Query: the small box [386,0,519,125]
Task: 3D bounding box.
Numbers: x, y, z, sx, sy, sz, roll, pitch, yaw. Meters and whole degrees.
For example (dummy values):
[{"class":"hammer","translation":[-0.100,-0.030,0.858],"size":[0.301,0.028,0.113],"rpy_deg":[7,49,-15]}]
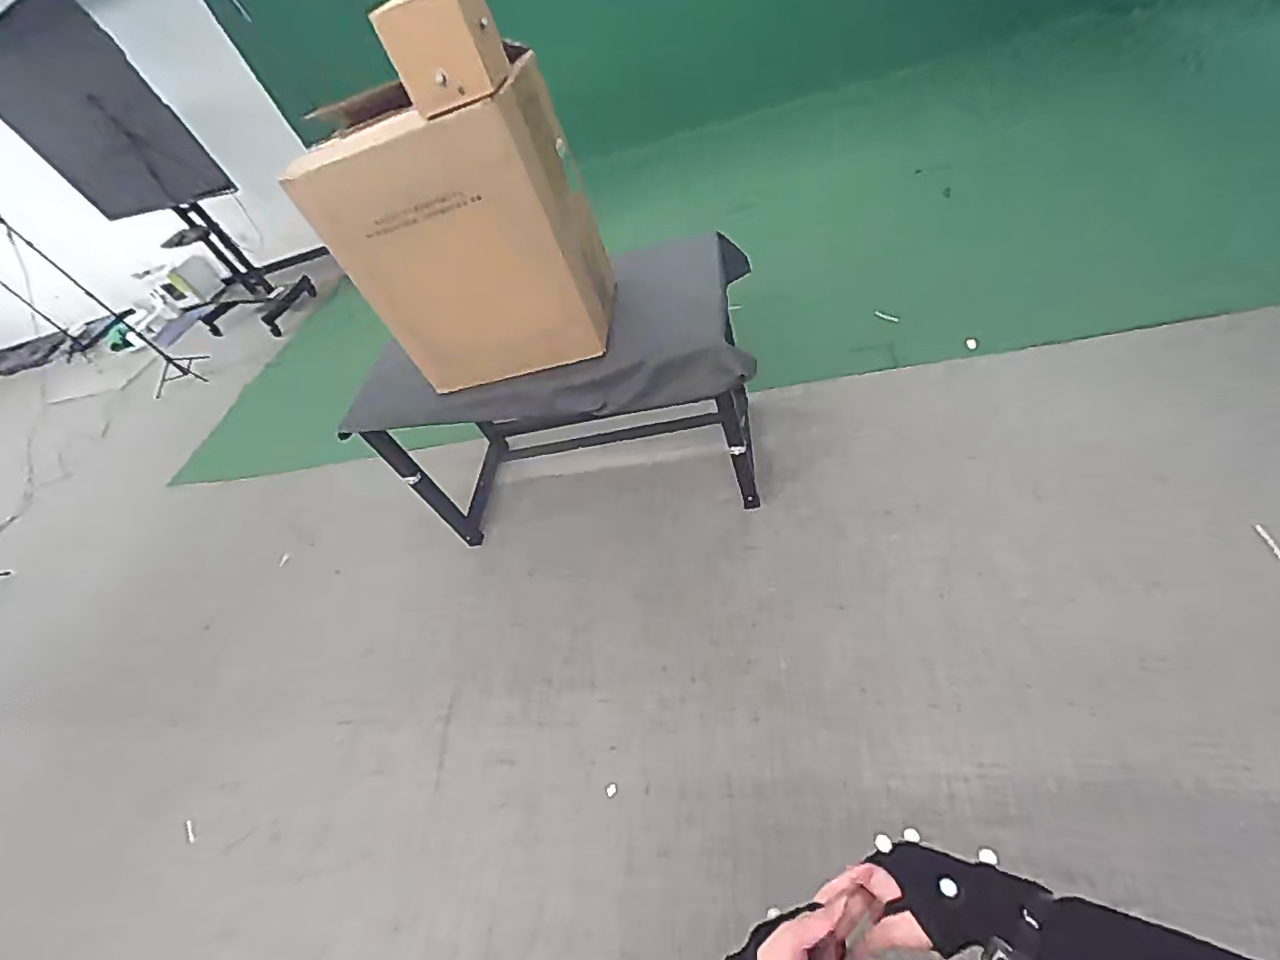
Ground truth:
[{"class":"small box","translation":[-0.354,-0.832,1.061],"size":[0.168,0.176,0.179],"rpy_deg":[-9,49,14]}]
